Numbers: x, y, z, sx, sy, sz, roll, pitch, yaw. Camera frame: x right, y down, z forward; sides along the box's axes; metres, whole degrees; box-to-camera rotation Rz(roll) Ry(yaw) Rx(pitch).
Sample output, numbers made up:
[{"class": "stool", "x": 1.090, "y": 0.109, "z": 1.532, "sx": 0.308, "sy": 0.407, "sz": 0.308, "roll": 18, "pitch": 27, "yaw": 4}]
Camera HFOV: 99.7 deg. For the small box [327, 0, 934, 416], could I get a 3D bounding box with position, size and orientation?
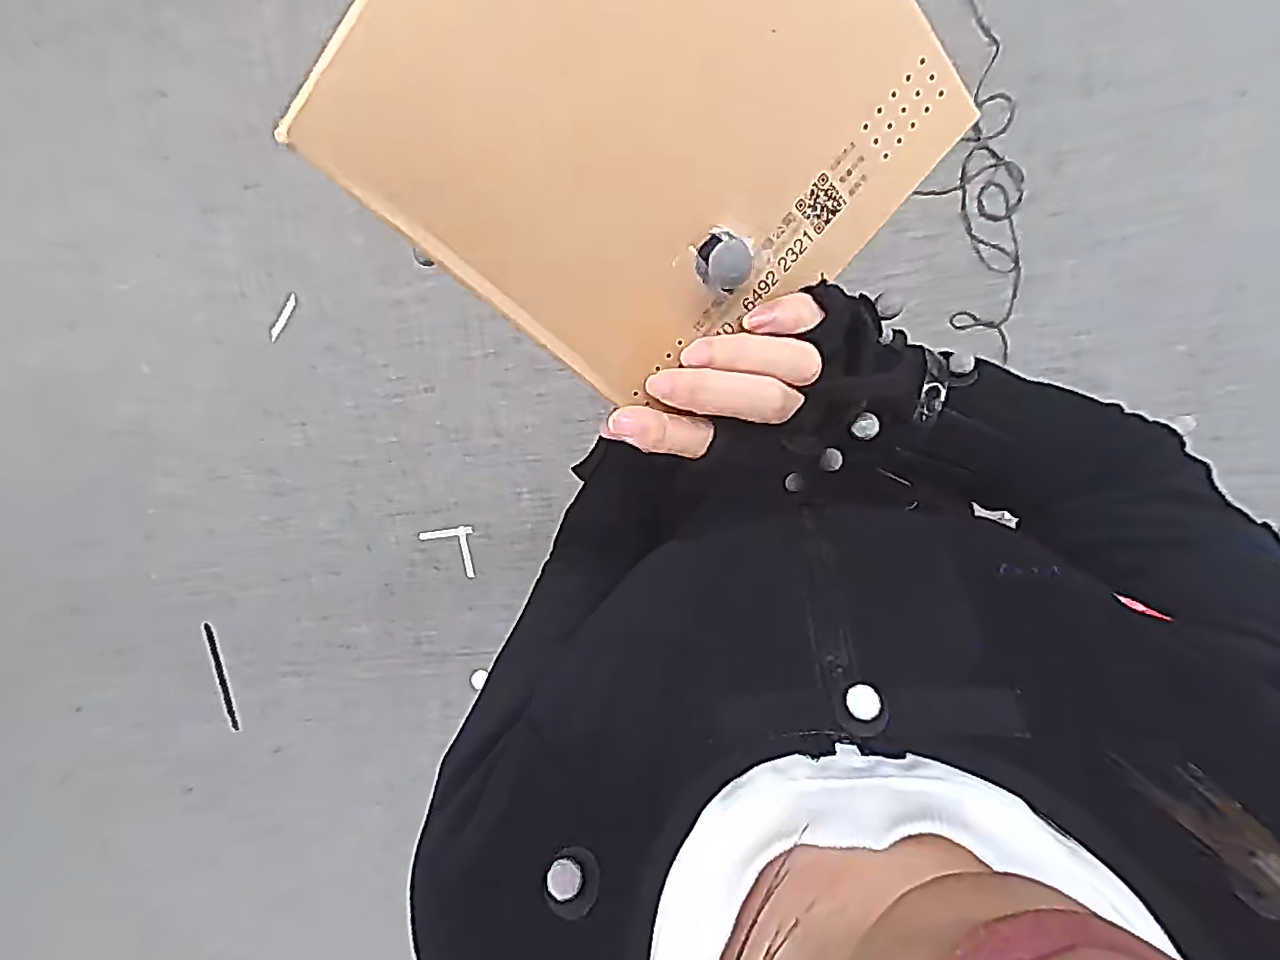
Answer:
[{"class": "small box", "x": -0.006, "y": -0.157, "z": 0.269, "sx": 0.176, "sy": 0.179, "sz": 0.168, "roll": 36, "pitch": 103, "yaw": -25}]
